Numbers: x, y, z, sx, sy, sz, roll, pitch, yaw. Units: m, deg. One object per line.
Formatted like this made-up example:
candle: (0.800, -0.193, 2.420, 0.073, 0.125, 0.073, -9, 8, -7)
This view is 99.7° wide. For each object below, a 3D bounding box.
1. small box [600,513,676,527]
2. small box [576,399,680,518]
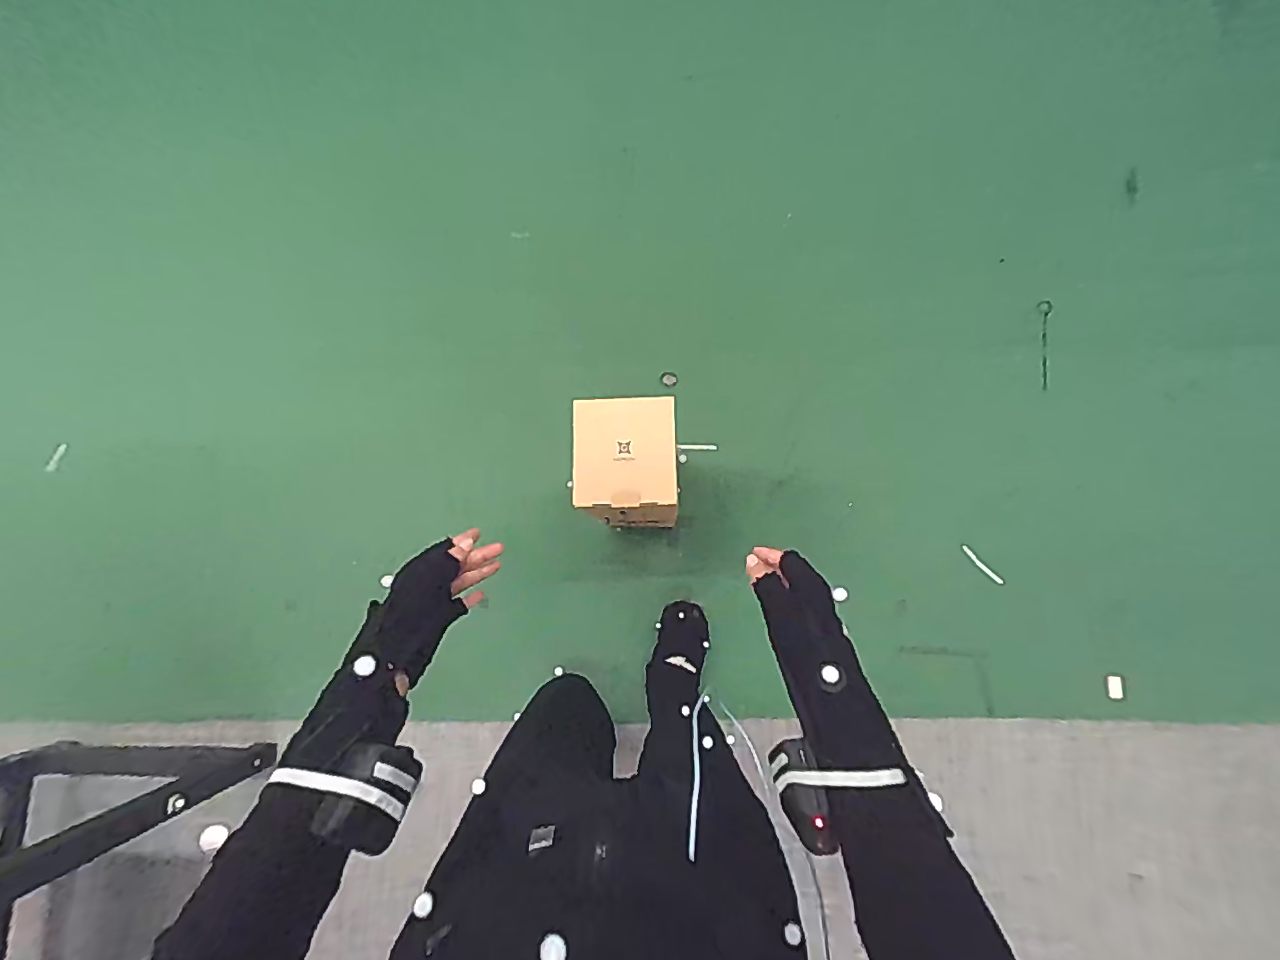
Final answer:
small box: (0.003, 0.018, 1.259, 0.168, 0.176, 0.179, 1, 81, 4)
small box: (-0.016, -0.031, 0.936, 0.168, 0.176, 0.179, -2, 81, 3)
